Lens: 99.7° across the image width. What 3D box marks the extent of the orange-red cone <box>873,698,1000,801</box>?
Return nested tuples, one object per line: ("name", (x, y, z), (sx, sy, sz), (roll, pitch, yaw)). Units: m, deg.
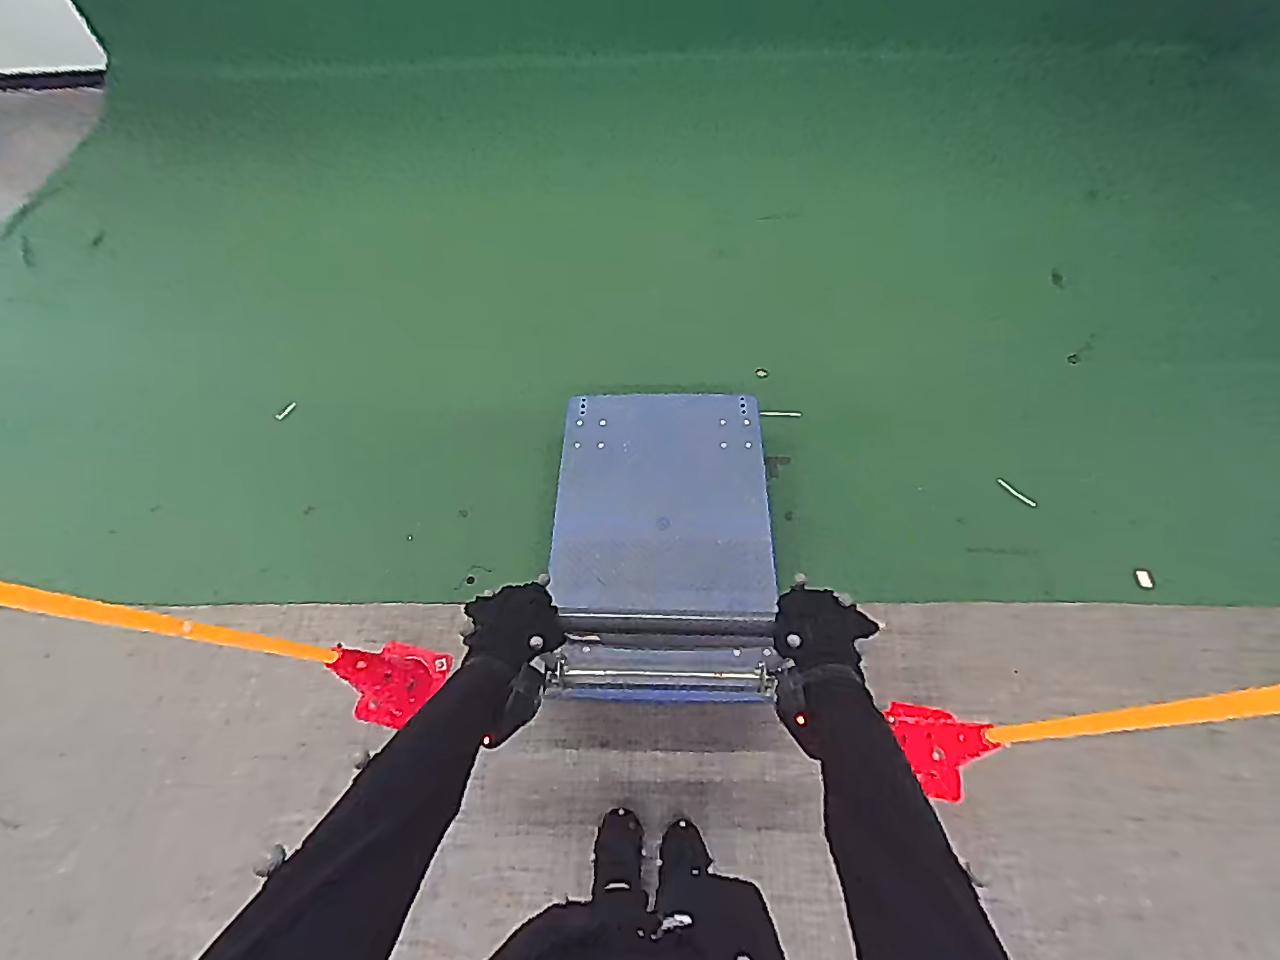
("orange-red cone", (0.656, 0.558, 1.150), (0.198, 0.360, 0.199), (9, 61, 8))
